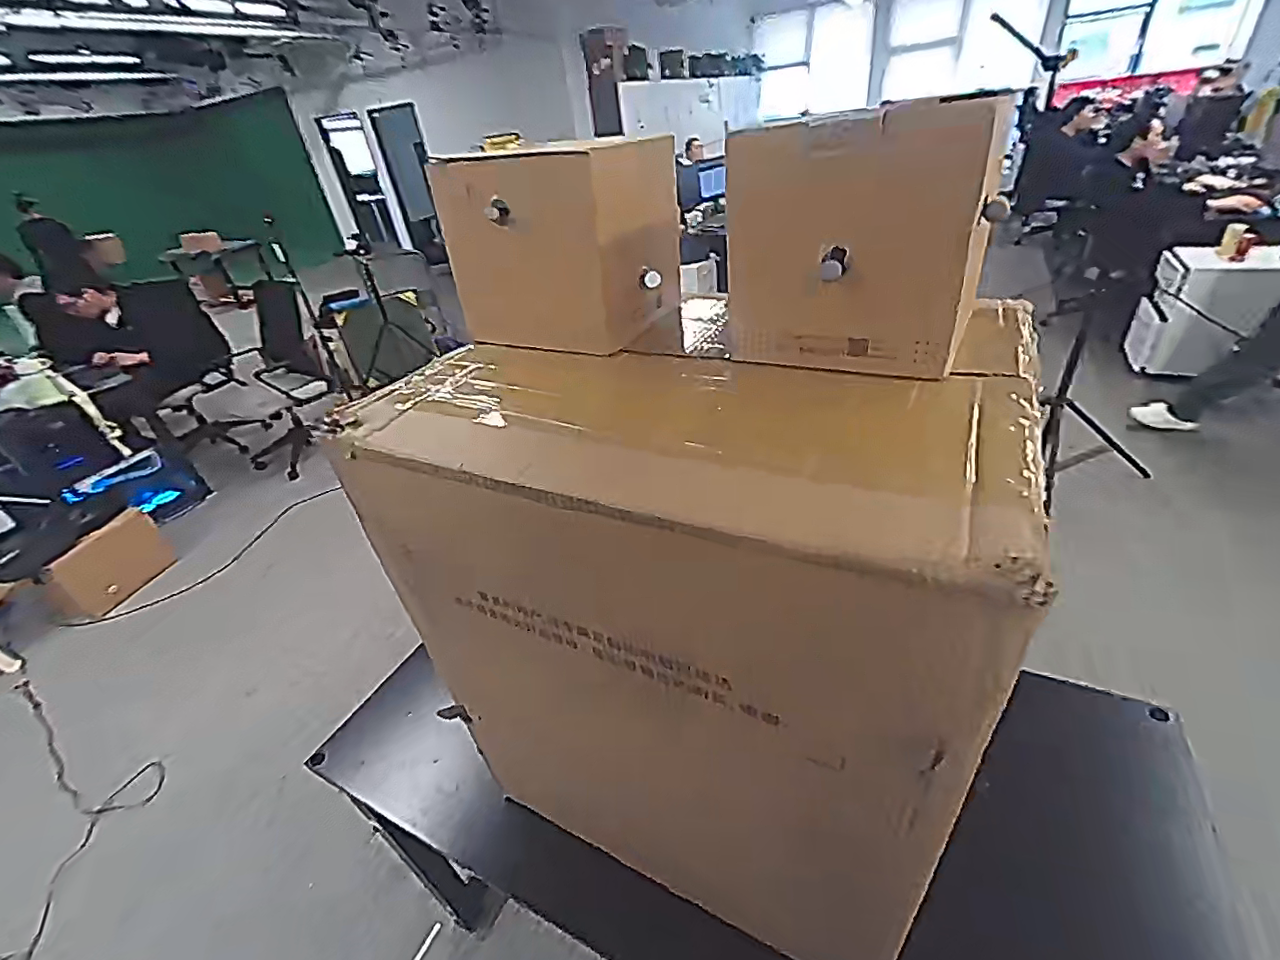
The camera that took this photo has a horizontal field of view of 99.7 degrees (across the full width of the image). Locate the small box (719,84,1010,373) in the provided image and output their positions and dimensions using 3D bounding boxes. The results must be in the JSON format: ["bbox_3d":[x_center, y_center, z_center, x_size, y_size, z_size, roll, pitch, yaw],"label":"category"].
[{"bbox_3d":[0.176,-0.196,0.431,0.168,0.176,0.179,13,38,29],"label":"small box"}]

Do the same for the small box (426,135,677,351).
[{"bbox_3d":[-0.075,-0.239,0.547,0.179,0.176,0.168,12,38,25],"label":"small box"}]
